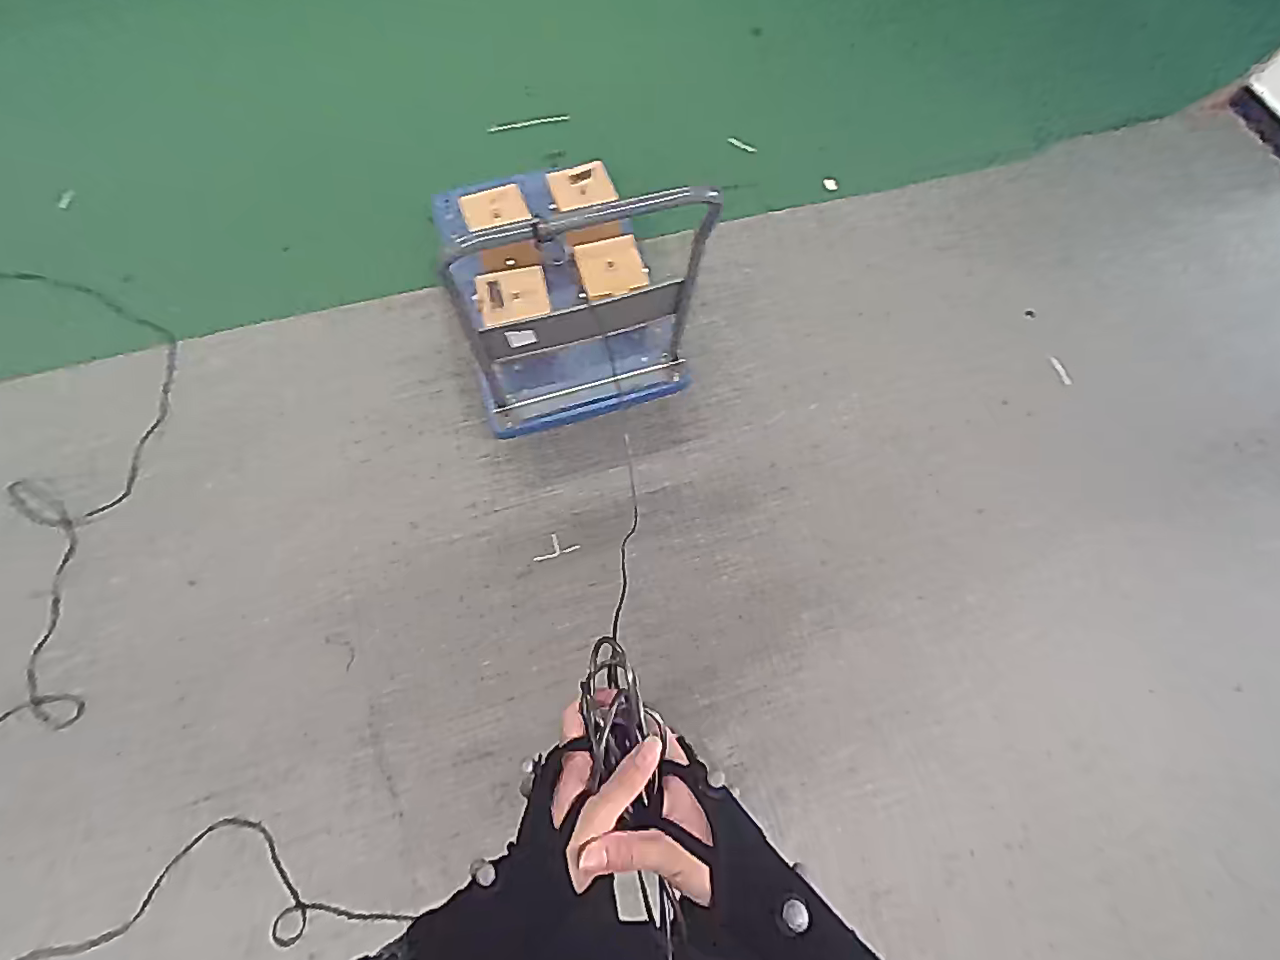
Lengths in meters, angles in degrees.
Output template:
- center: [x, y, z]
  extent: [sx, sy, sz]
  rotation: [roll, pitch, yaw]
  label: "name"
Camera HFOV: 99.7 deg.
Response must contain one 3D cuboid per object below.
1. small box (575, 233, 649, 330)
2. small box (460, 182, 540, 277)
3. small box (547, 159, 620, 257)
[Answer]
- center: [-0.081, -0.552, 1.518]
  extent: [0.168, 0.176, 0.179]
  rotation: [-15, 74, -8]
  label: "small box"
- center: [-0.397, -0.711, 1.557]
  extent: [0.168, 0.176, 0.179]
  rotation: [-20, 73, -10]
  label: "small box"
- center: [-0.164, -0.797, 1.596]
  extent: [0.168, 0.176, 0.179]
  rotation: [-20, 74, -8]
  label: "small box"
